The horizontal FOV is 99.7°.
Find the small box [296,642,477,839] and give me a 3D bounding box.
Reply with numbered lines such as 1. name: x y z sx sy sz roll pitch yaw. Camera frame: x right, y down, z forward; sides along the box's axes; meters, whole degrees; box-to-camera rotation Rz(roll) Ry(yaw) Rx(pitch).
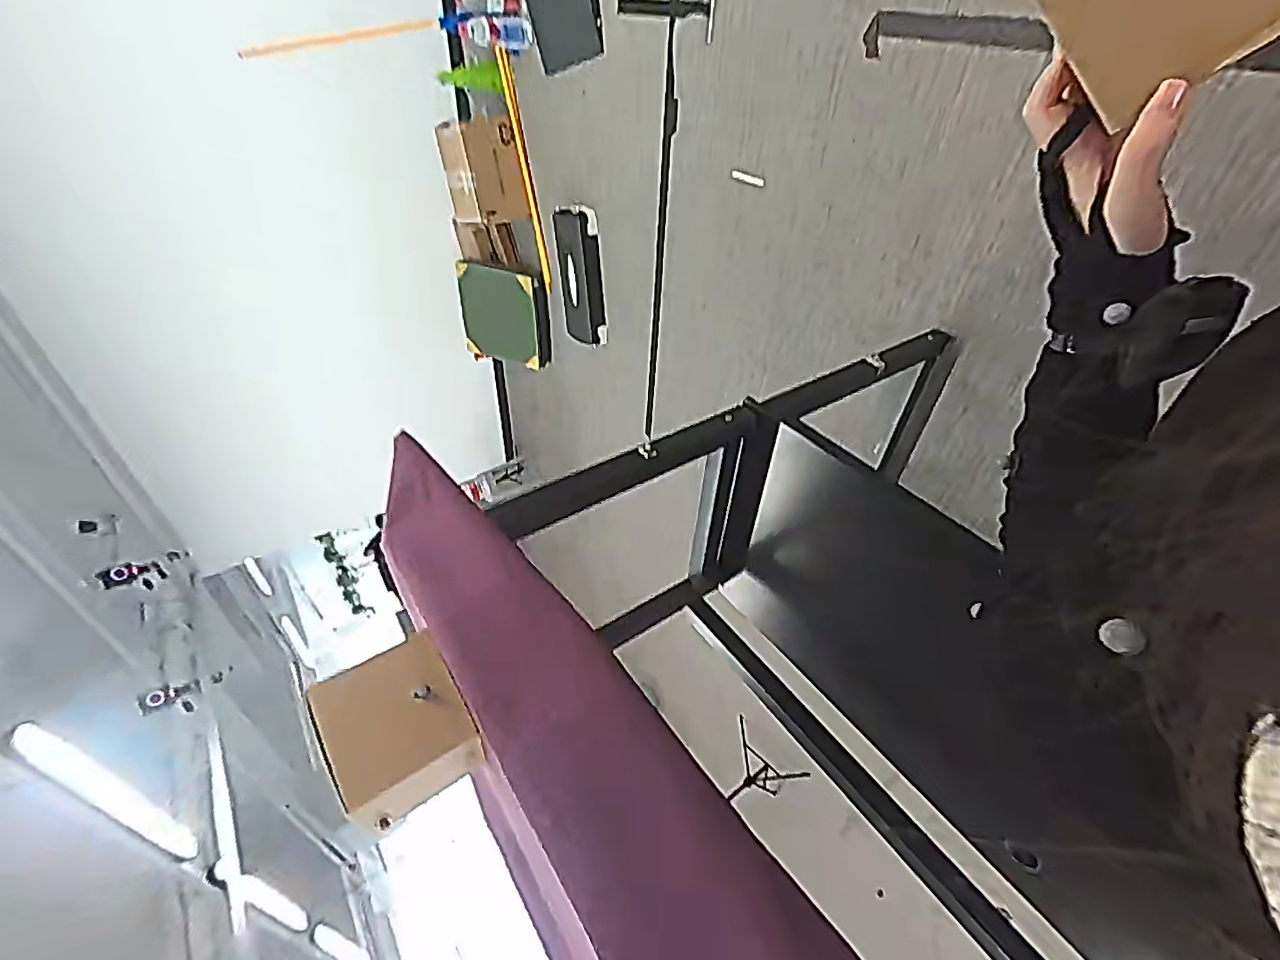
1. small box: -0.343 0.352 0.753 0.179 0.176 0.168 50 148 28
